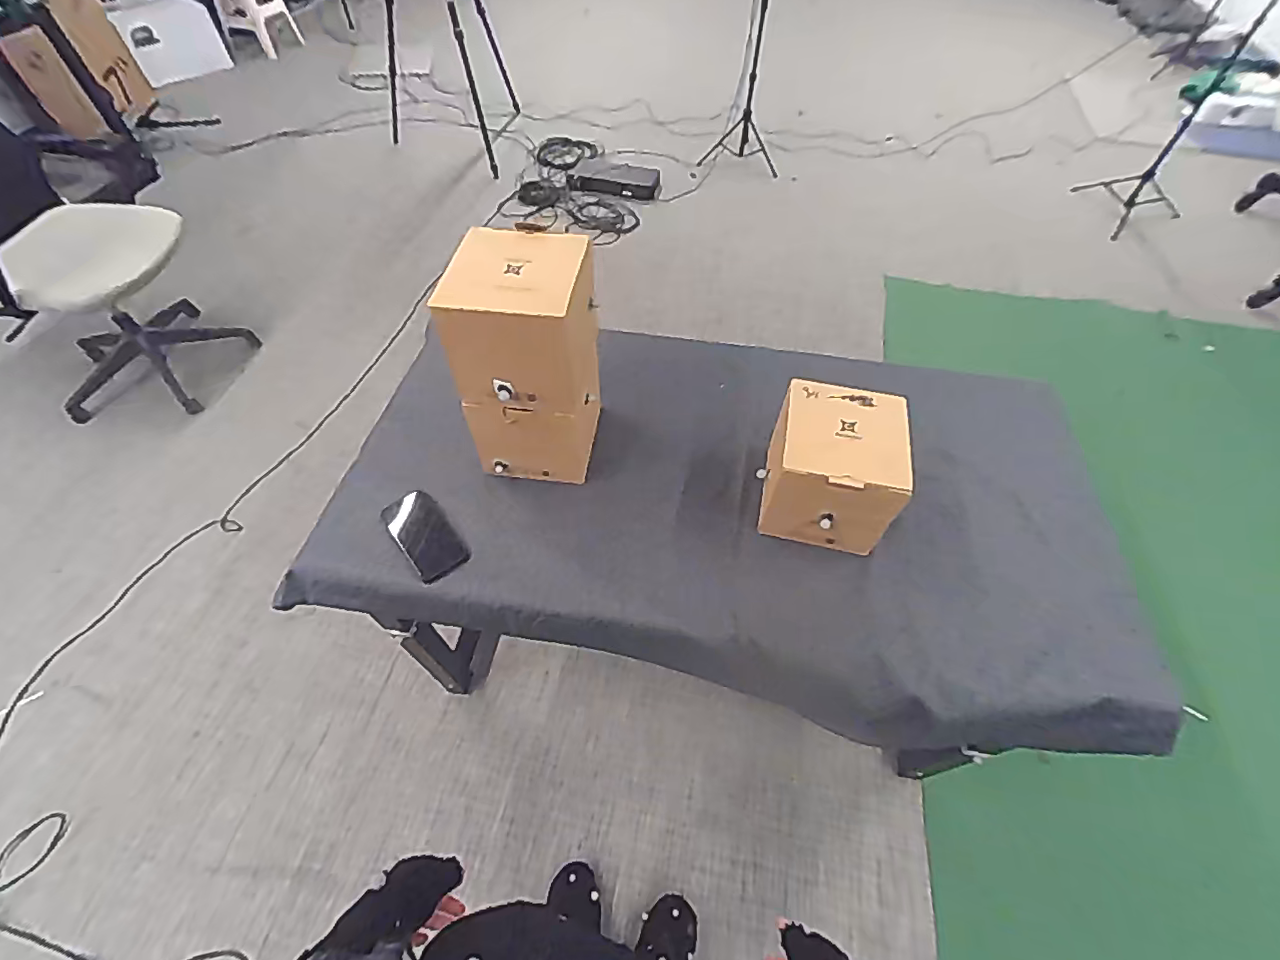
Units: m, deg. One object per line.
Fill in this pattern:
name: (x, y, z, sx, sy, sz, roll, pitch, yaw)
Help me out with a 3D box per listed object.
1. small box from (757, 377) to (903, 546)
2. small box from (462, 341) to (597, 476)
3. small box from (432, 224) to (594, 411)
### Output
small box: (0.277, -0.022, 0.811, 0.168, 0.176, 0.179, 12, 55, 7)
small box: (-0.164, -0.125, 0.871, 0.168, 0.176, 0.179, 6, 54, 3)
small box: (-0.157, -0.219, 0.739, 0.168, 0.176, 0.179, 5, 56, 3)
